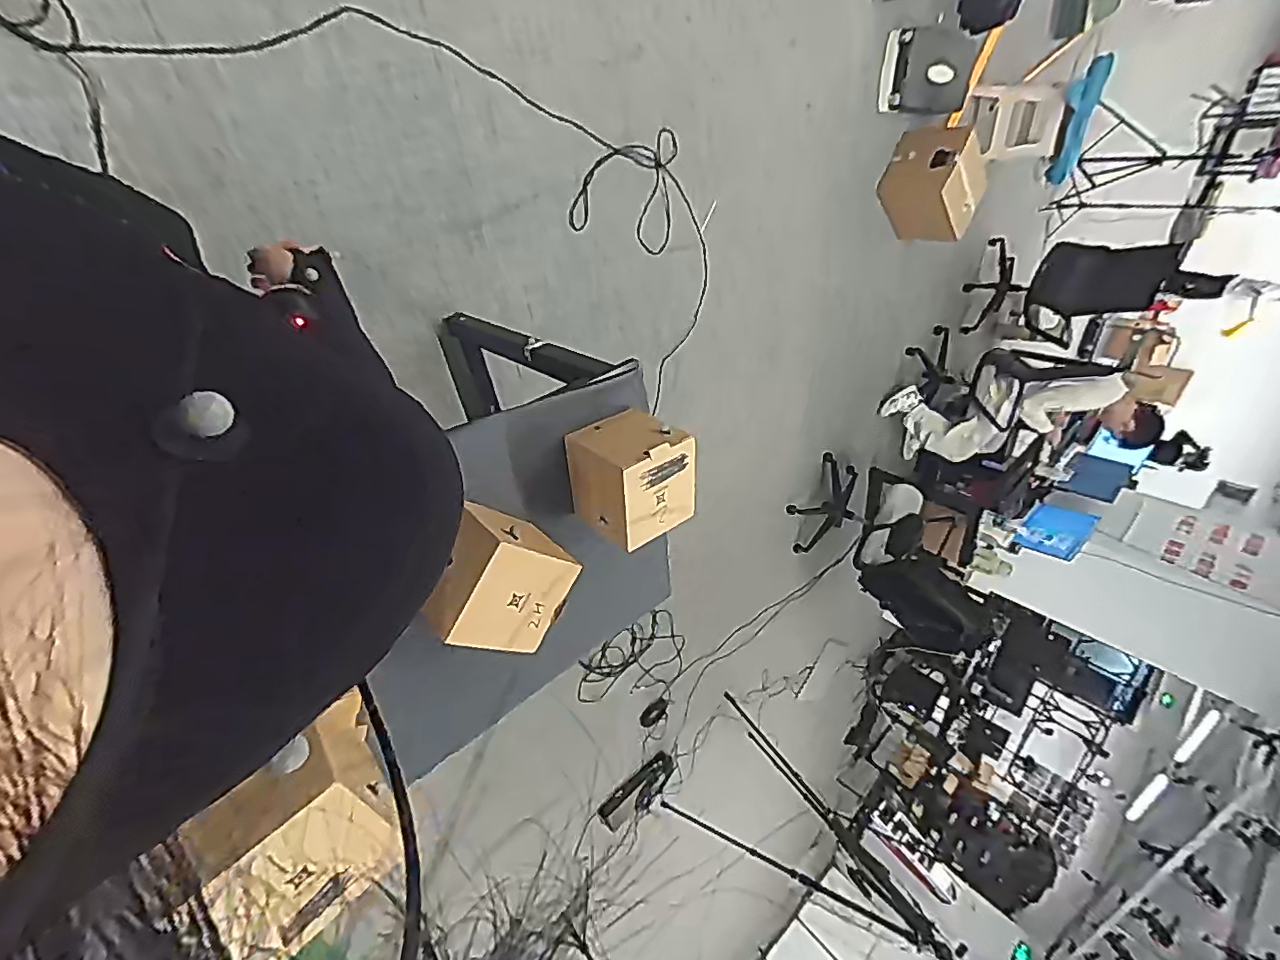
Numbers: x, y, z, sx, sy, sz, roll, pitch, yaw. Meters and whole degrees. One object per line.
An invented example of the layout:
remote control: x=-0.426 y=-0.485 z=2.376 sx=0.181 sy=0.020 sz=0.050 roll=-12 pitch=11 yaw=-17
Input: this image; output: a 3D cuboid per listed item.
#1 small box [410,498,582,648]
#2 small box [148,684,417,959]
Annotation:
small box: x=-0.234 y=0.146 z=0.868 sx=0.179 sy=0.176 sz=0.168 roll=29 pitch=90 yaw=-49
small box: x=-0.382 y=0.361 z=0.588 sx=0.168 sy=0.176 sz=0.179 roll=-37 pitch=133 yaw=-27
